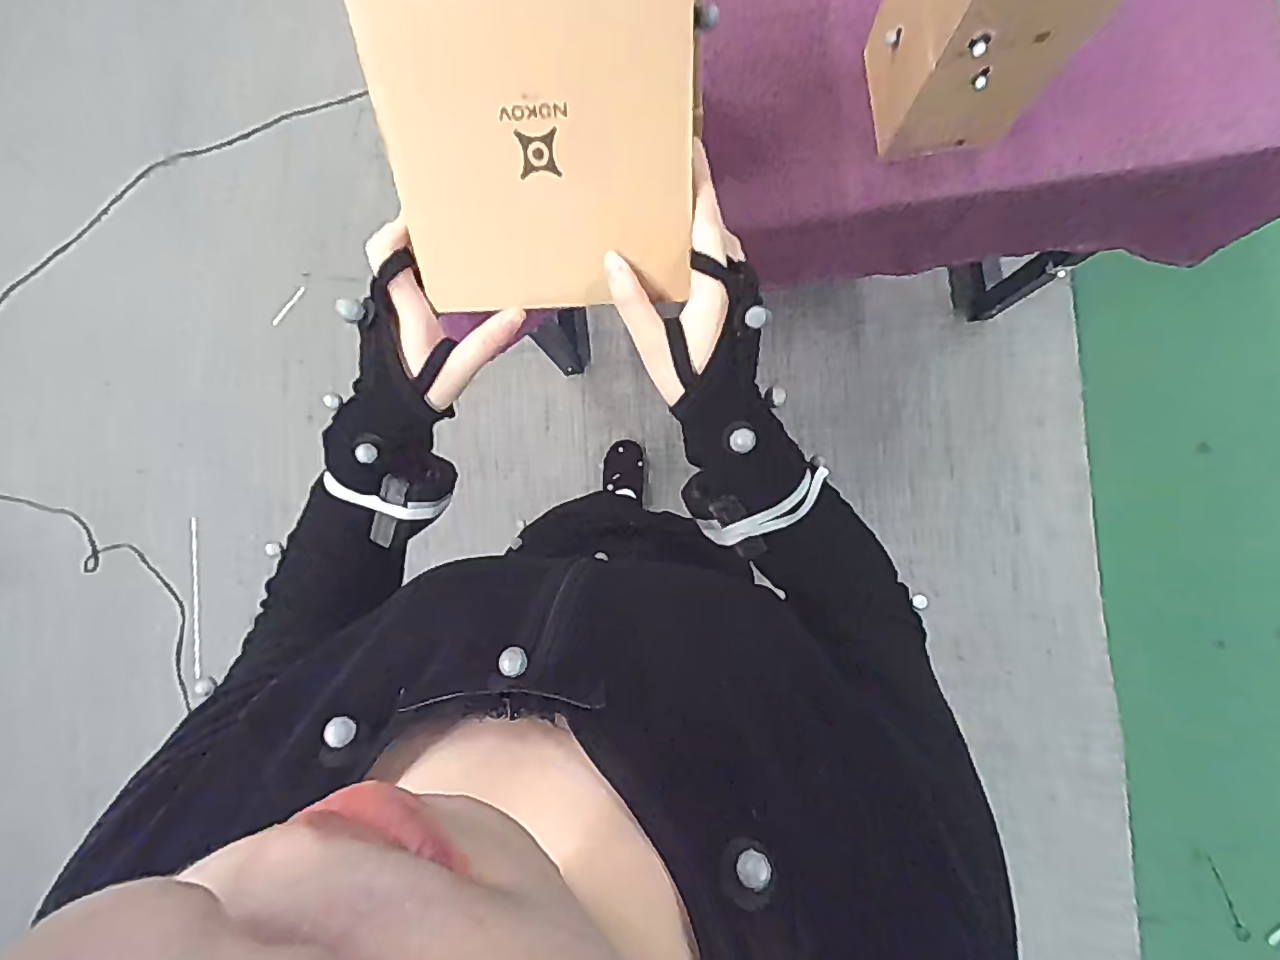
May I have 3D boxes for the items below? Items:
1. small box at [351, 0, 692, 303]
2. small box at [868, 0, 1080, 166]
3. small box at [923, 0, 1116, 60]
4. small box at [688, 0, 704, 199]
[{"bbox_3d":[-0.051,-0.231,0.352,0.168,0.176,0.179,-1,126,3],"label":"small box"},{"bbox_3d":[0.409,-0.548,0.696,0.168,0.176,0.179,-6,86,6],"label":"small box"},{"bbox_3d":[0.397,-0.558,0.532,0.168,0.176,0.179,-7,86,4],"label":"small box"},{"bbox_3d":[-0.006,-0.499,0.727,0.168,0.176,0.179,-5,87,5],"label":"small box"}]
